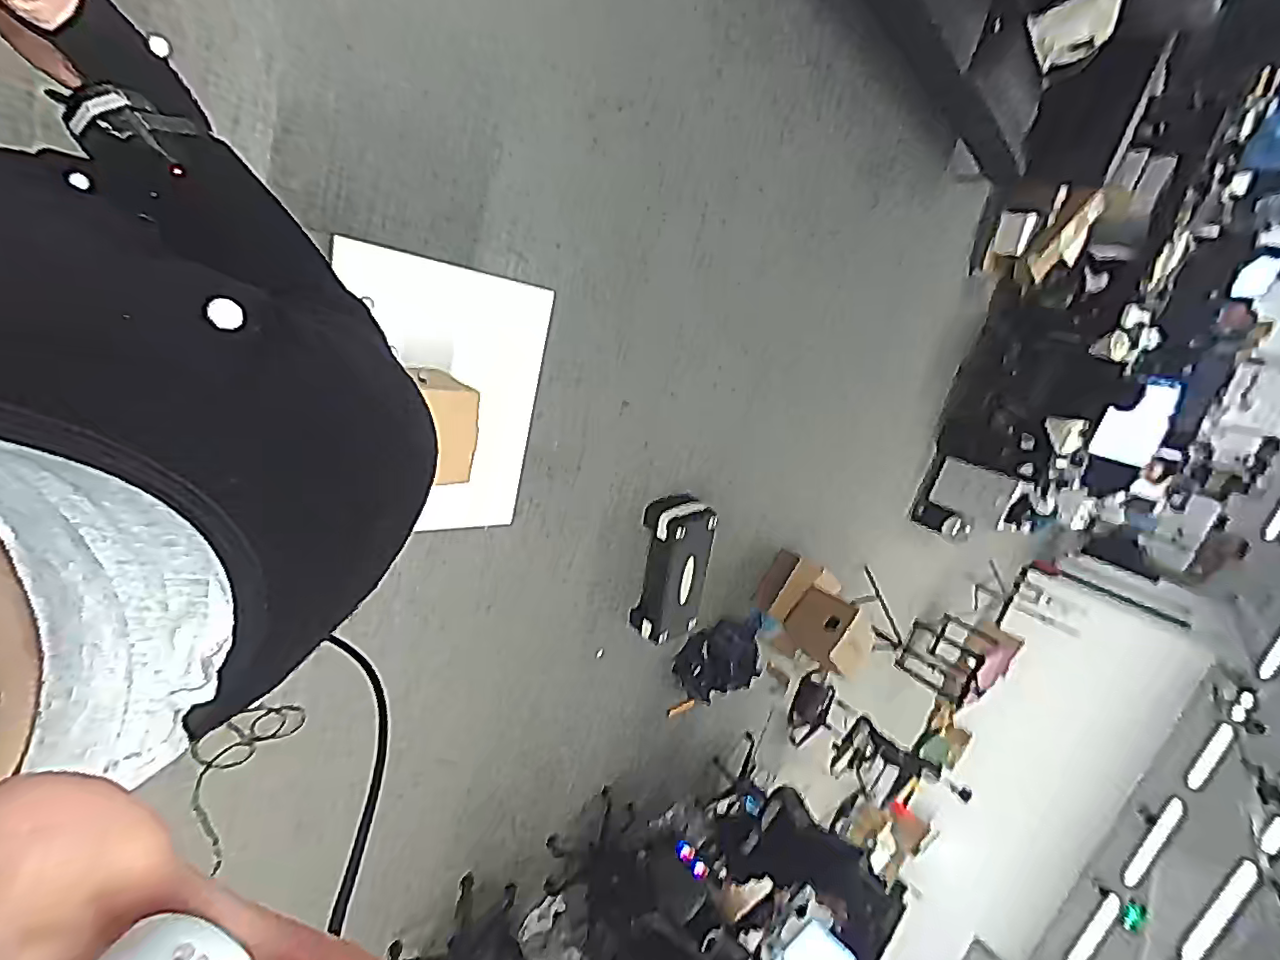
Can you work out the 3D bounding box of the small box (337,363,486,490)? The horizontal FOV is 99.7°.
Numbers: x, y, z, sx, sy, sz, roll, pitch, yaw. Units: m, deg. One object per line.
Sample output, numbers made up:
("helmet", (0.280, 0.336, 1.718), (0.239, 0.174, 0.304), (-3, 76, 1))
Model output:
("small box", (-0.382, -0.095, 0.900), (0.179, 0.176, 0.168), (-7, 115, -44))
